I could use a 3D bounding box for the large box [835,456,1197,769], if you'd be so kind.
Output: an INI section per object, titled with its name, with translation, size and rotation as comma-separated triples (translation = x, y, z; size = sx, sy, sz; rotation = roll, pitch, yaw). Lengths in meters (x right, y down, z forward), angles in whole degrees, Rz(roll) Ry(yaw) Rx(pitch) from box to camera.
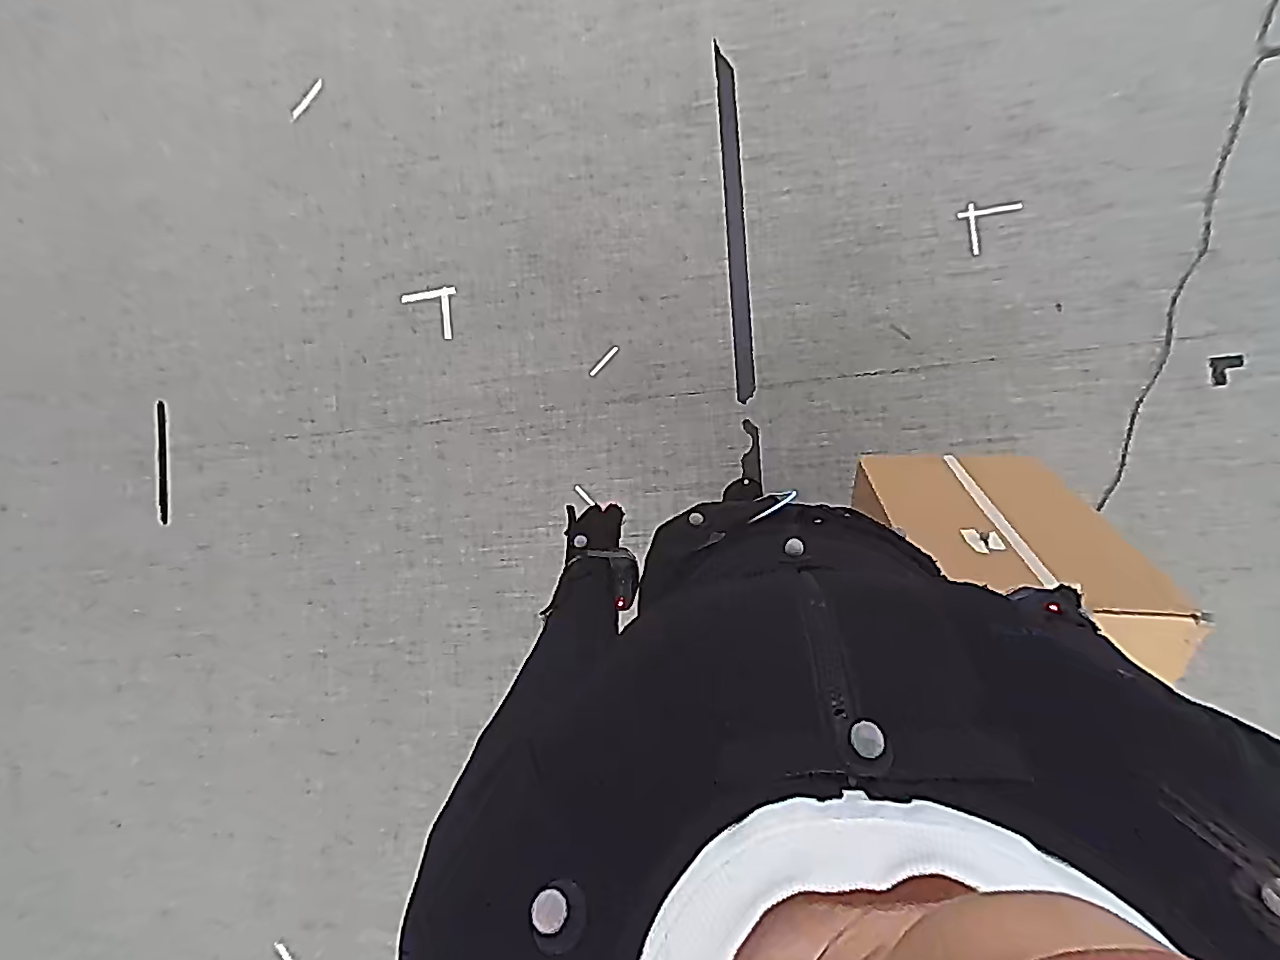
[large box]
translation = 0.536, 0.191, 0.898
size = 0.320, 0.408, 0.320
rotation = 0, 122, 8
